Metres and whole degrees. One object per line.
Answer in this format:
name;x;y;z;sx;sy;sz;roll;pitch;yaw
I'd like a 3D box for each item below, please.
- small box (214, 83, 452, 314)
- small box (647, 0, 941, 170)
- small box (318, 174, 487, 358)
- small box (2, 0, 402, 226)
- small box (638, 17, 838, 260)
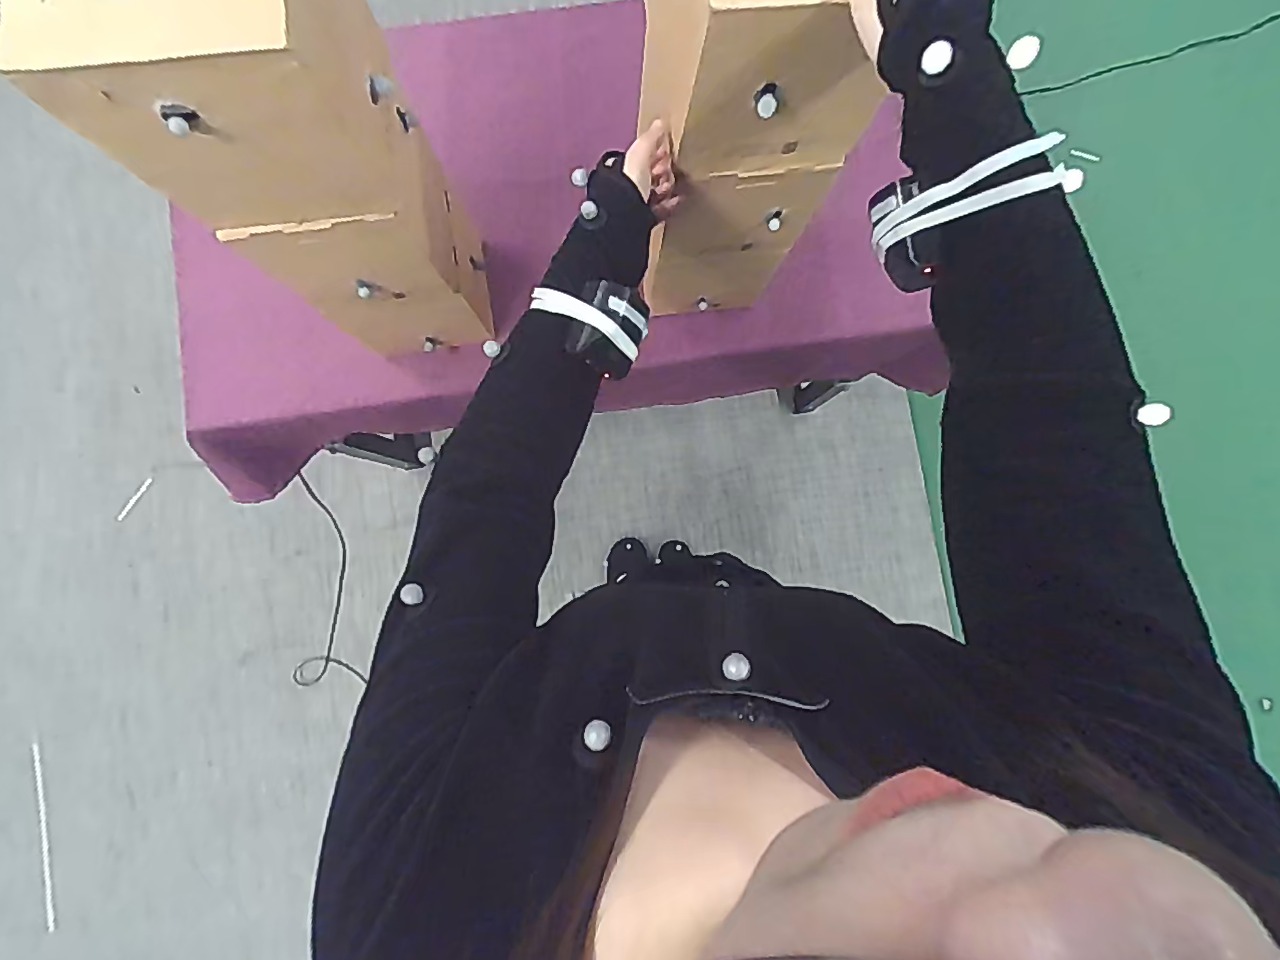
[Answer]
small box;-0.316;-0.302;0.580;0.168;0.176;0.179;-8;85;-1
small box;0.101;-0.375;0.430;0.168;0.176;0.179;-8;86;-5
small box;-0.319;-0.282;0.744;0.179;0.176;0.168;-10;85;-3
small box;-0.309;-0.320;0.417;0.179;0.176;0.168;-7;85;-2
small box;0.092;-0.360;0.591;0.168;0.176;0.179;-8;85;-4
